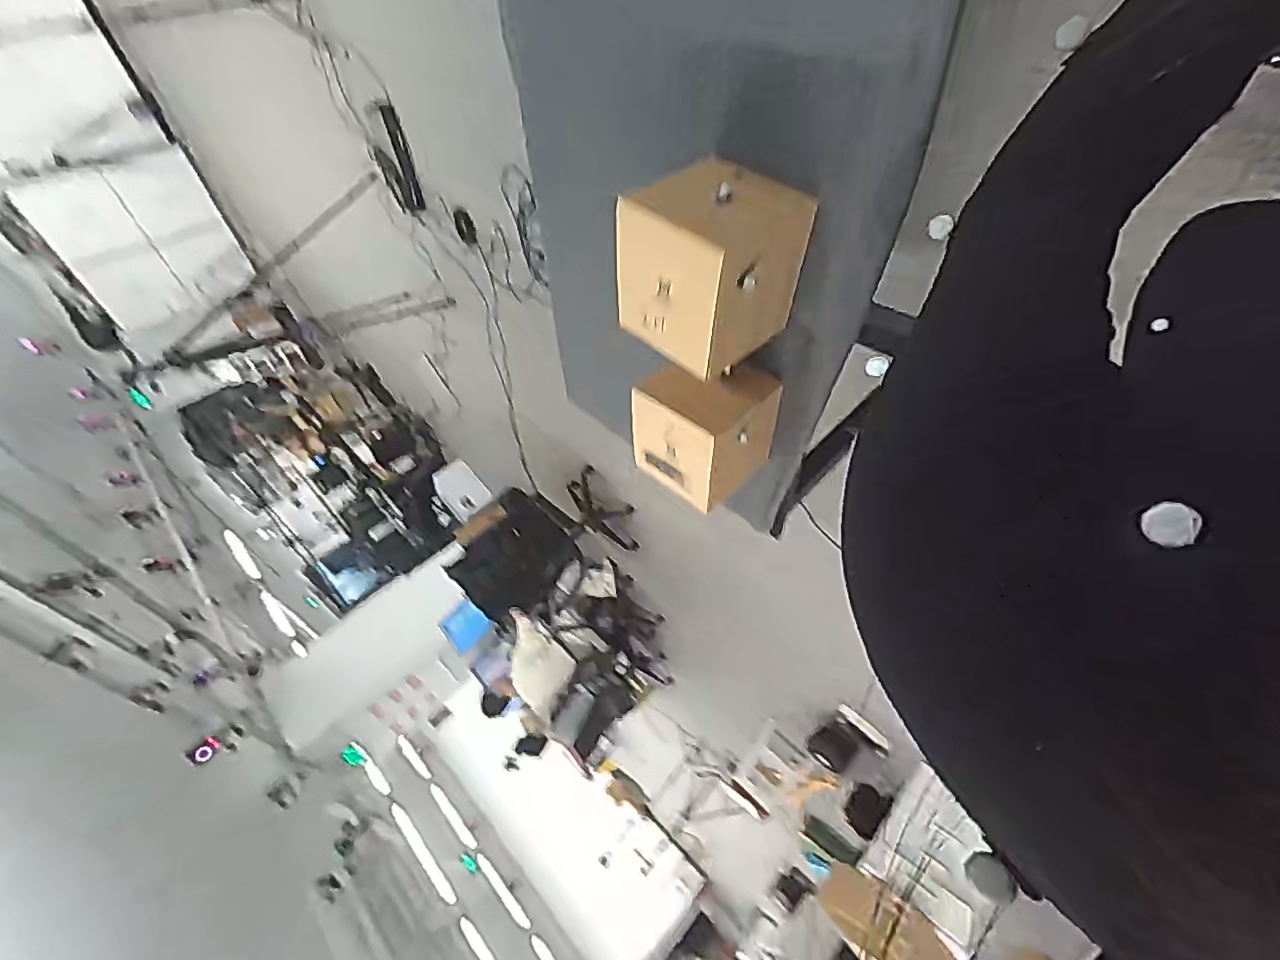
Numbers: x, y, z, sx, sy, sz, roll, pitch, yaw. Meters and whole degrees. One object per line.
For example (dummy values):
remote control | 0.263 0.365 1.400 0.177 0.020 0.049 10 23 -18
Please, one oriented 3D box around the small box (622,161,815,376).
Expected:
small box | 0.094 -0.273 0.686 0.168 0.176 0.179 41 152 26
